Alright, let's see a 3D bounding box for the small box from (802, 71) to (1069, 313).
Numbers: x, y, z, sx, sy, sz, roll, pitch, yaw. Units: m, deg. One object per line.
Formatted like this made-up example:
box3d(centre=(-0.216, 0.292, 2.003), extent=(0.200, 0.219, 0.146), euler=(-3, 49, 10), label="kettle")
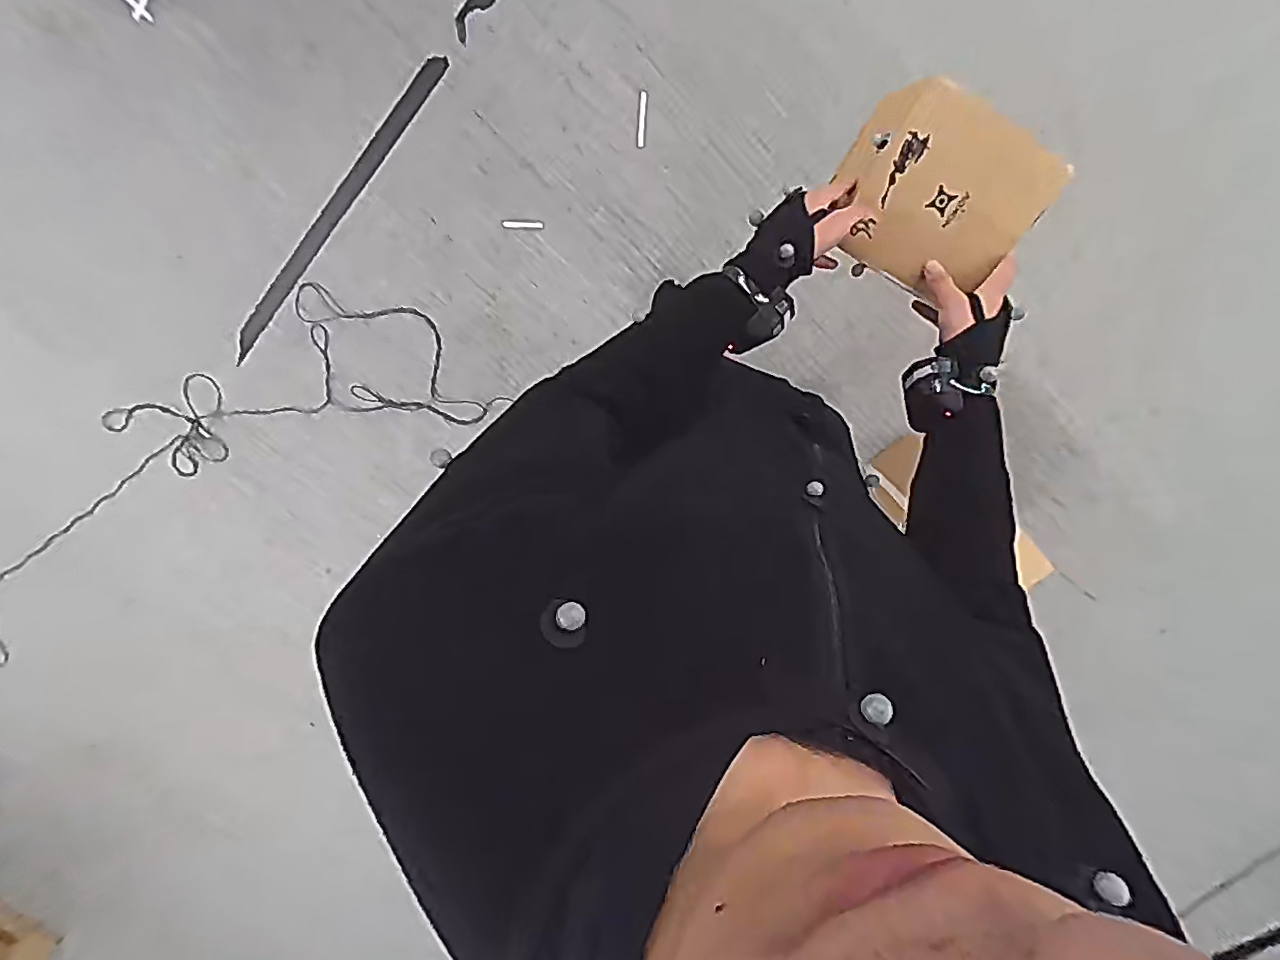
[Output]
box3d(centre=(0.312, -0.322, 0.616), extent=(0.179, 0.176, 0.168), euler=(26, 119, -10), label="small box")
